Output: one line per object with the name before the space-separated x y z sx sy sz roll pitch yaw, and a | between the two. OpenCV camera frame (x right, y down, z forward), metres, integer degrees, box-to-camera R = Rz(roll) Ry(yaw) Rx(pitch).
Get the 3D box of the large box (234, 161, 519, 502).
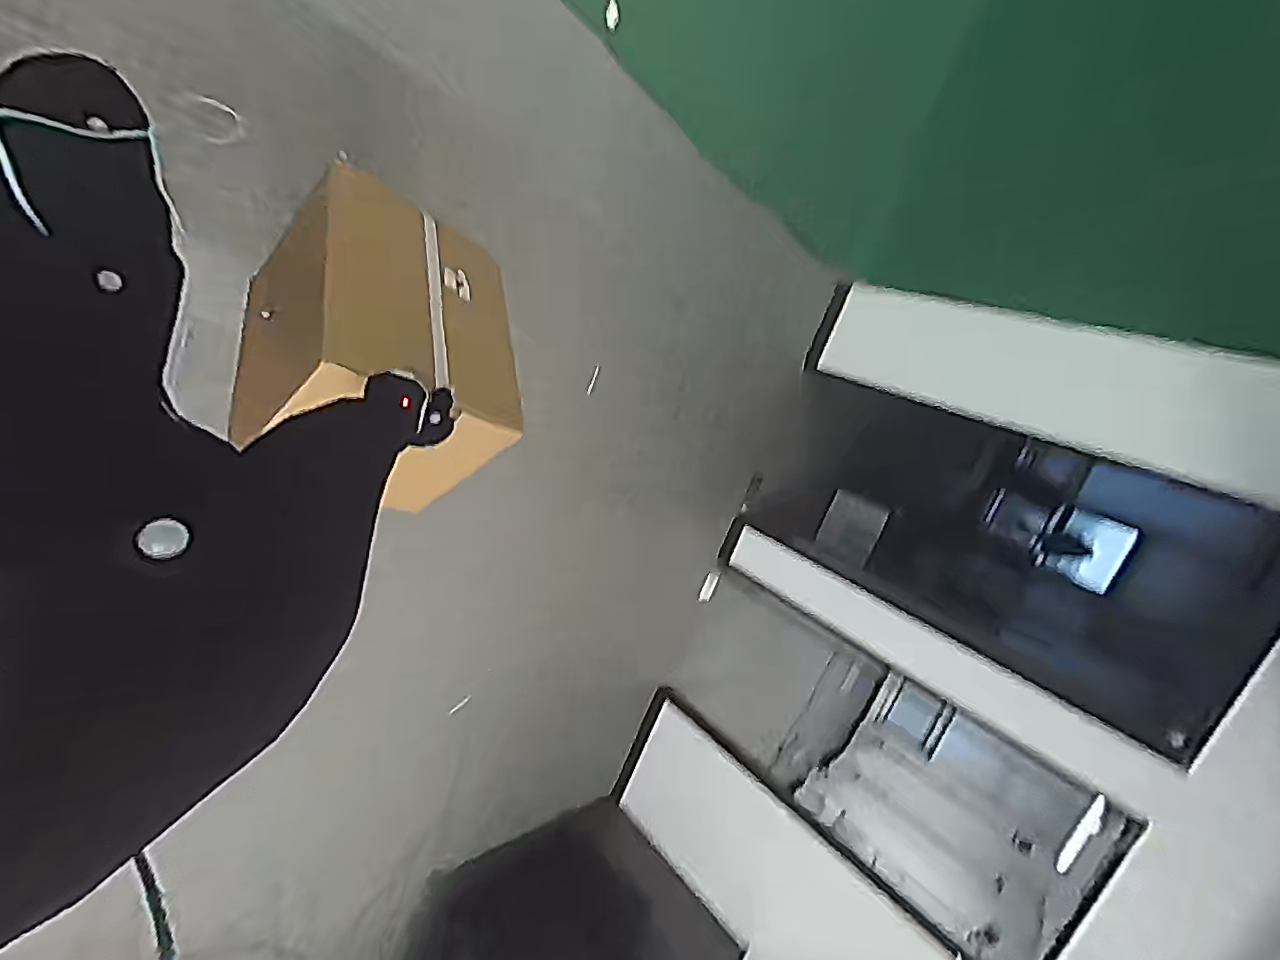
large box | -0.450 -0.221 0.931 0.320 0.408 0.320 -30 150 28
